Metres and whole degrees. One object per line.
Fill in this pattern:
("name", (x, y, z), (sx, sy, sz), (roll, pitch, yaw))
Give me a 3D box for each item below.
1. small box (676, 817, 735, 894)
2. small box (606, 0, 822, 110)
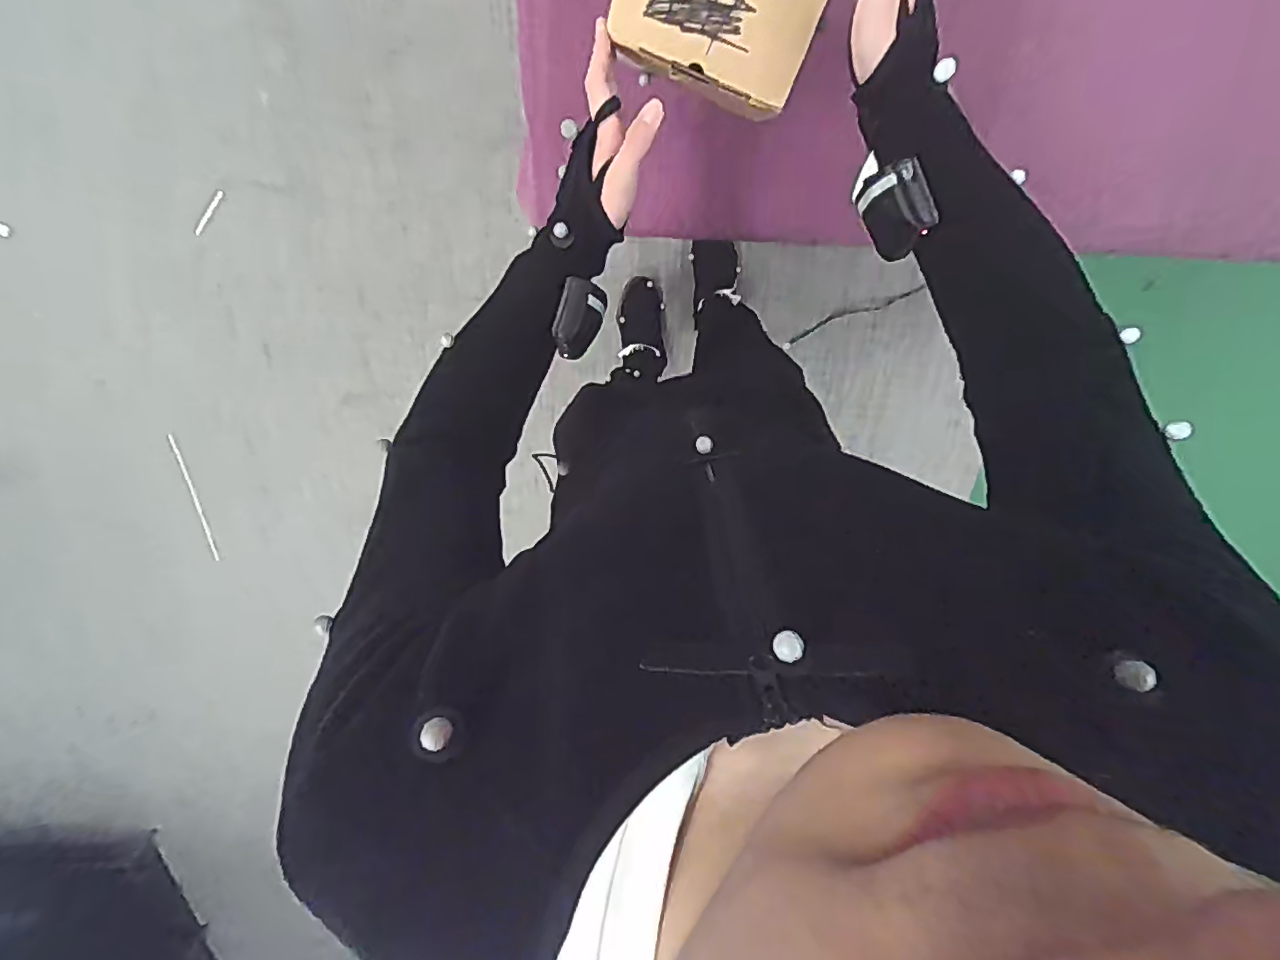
("small box", (0.238, 1.400, 2.025), (0.179, 0.176, 0.168), (13, 115, -4))
("small box", (0.080, -0.462, 0.486), (0.168, 0.176, 0.179), (18, 120, -7))
